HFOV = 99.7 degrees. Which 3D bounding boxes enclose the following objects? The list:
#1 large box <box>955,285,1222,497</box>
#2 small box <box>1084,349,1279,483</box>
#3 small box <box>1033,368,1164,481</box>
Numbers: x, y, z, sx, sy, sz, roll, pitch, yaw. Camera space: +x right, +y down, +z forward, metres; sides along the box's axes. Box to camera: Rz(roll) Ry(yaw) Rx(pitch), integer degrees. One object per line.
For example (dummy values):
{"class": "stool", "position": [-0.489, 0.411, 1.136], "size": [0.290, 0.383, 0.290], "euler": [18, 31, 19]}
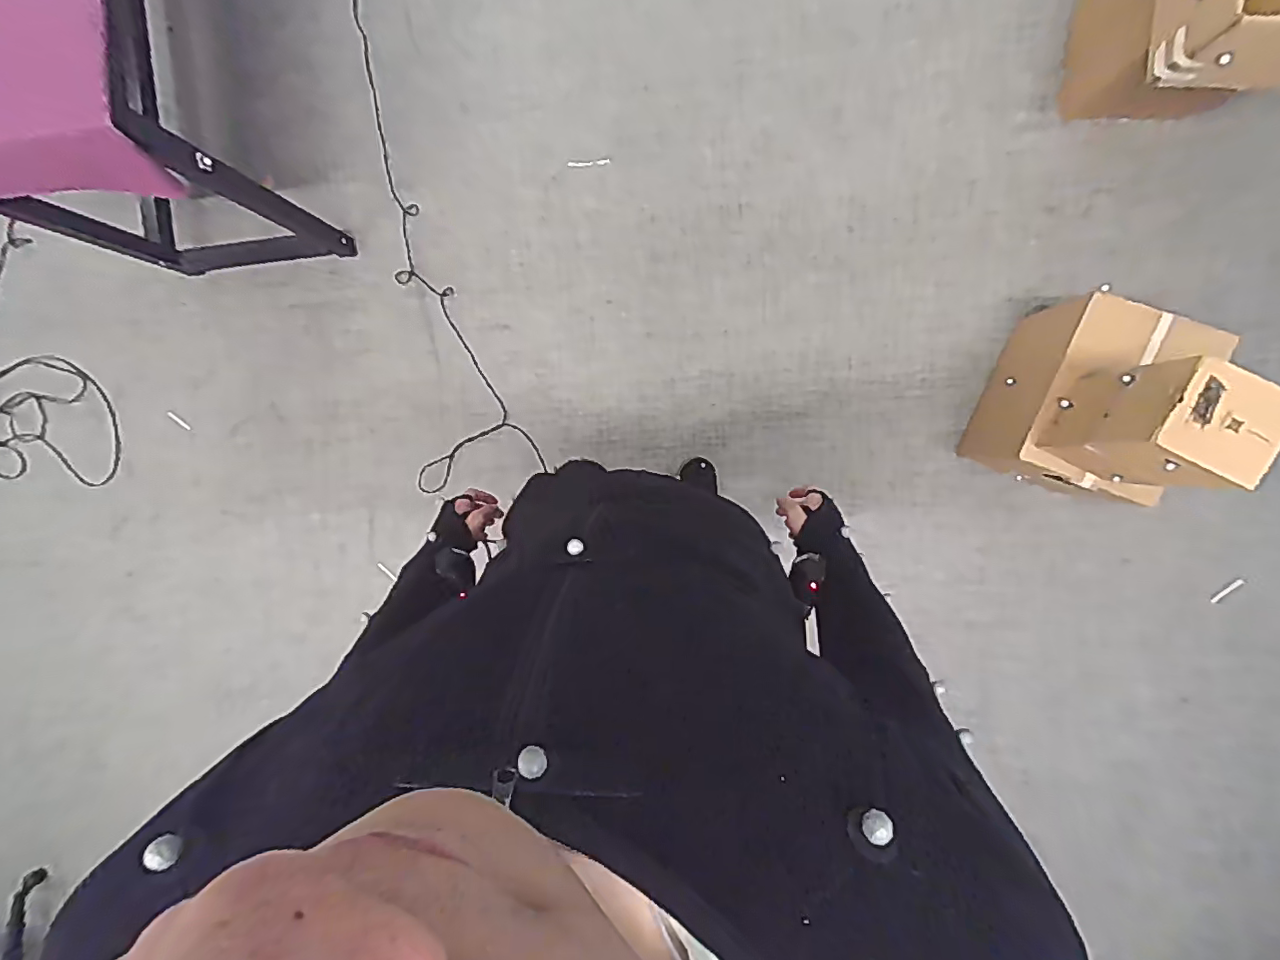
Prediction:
{"class": "large box", "position": [1.076, -0.205, 1.354], "size": [0.320, 0.320, 0.408], "euler": [21, 96, 3]}
{"class": "small box", "position": [0.960, -0.108, 0.963], "size": [0.179, 0.176, 0.168], "euler": [28, 97, 3]}
{"class": "small box", "position": [0.983, -0.116, 1.125], "size": [0.179, 0.176, 0.168], "euler": [28, 97, 4]}
